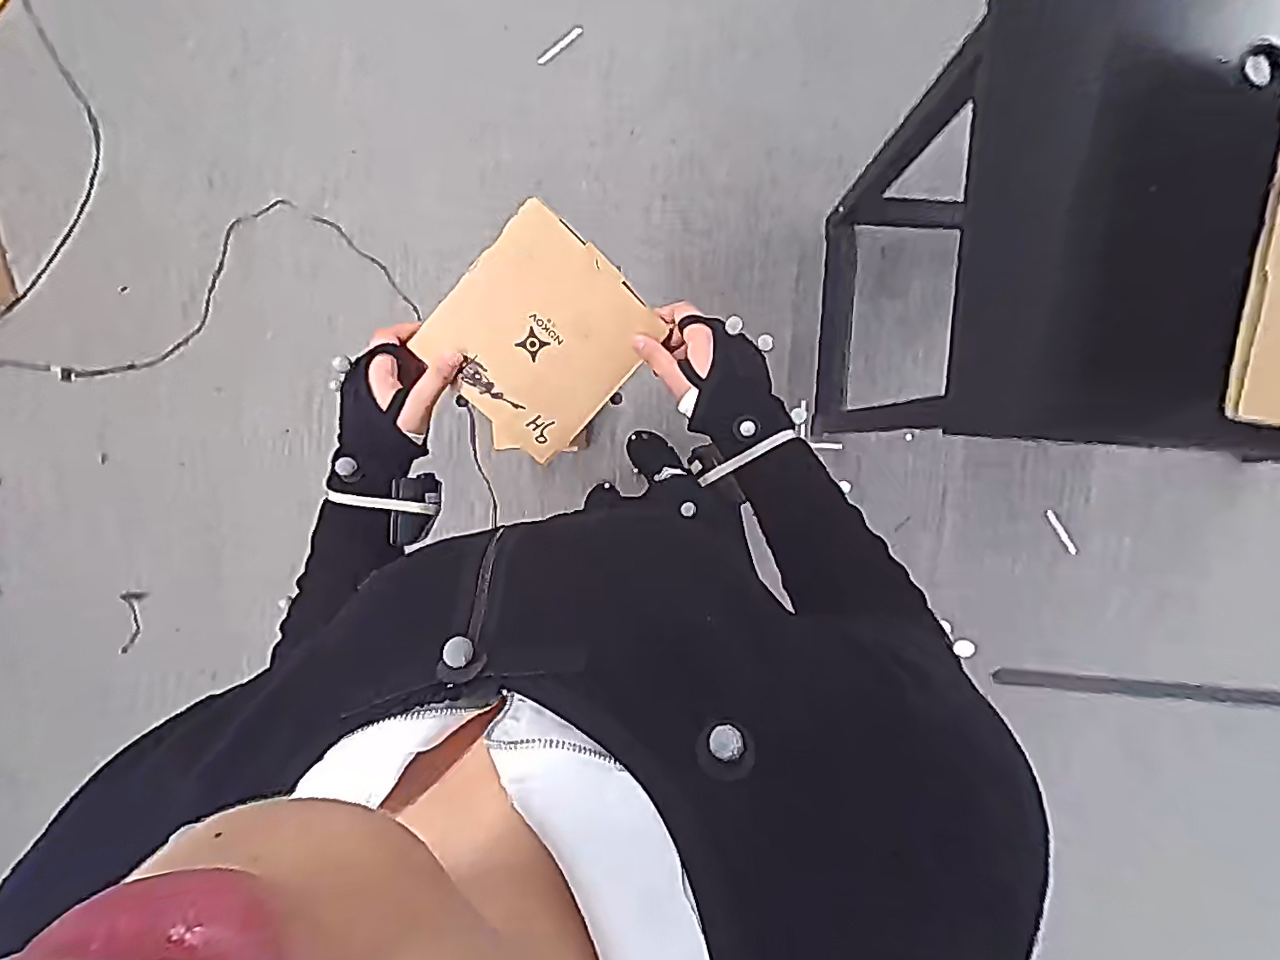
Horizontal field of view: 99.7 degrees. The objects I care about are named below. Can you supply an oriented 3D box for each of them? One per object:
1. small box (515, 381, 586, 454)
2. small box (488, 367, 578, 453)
[{"bbox_3d":[-0.231,-0.158,1.402,0.168,0.176,0.179,-1,94,2],"label":"small box"},{"bbox_3d":[-0.238,-0.155,1.240,0.168,0.176,0.179,-4,92,1],"label":"small box"}]
